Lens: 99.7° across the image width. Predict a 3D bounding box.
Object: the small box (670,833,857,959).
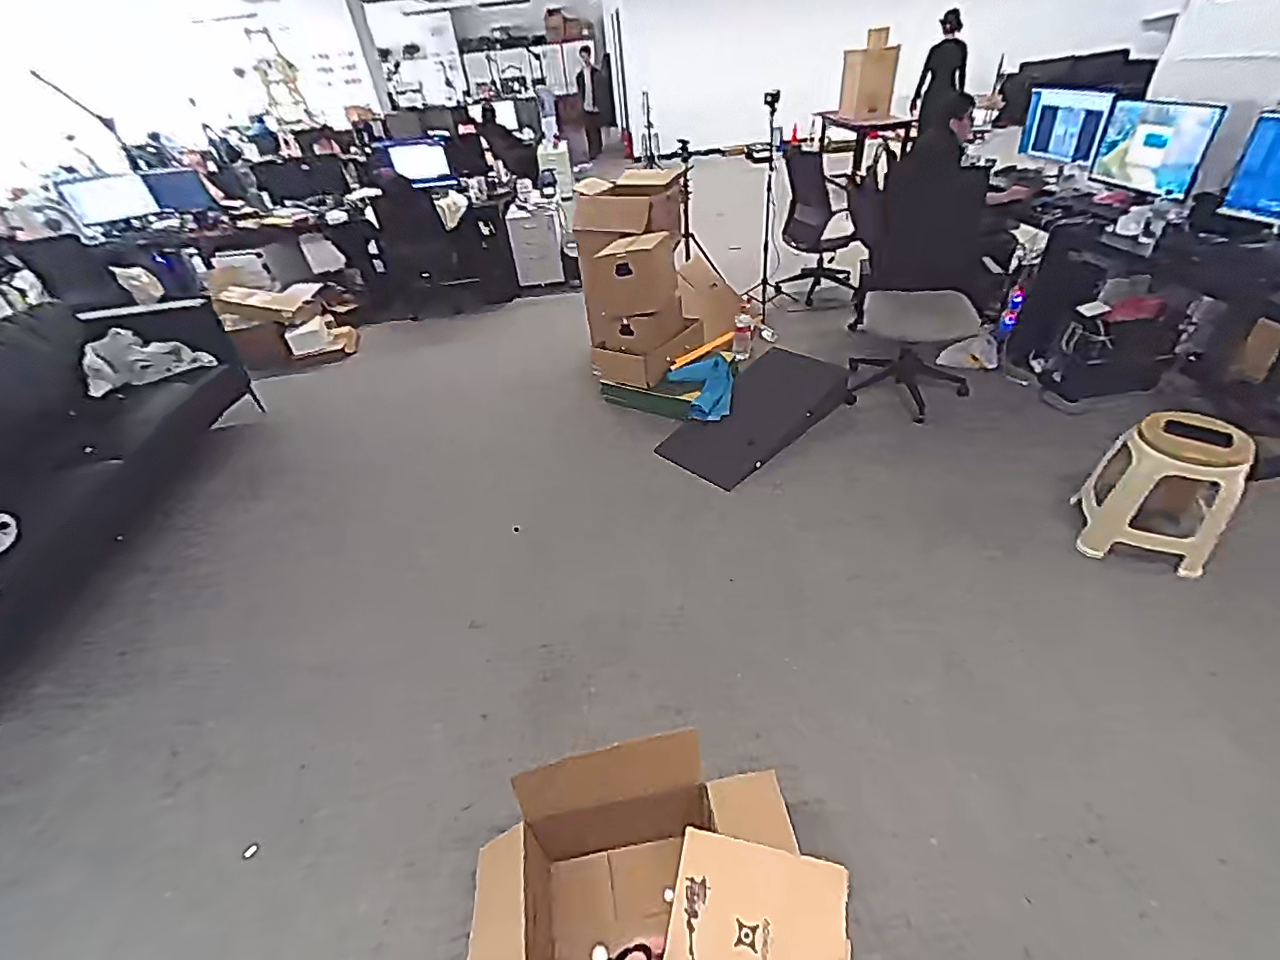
[{"bbox_3d":[0.134,0.522,0.588,0.179,0.176,0.168,4,43,19],"label":"small box"}]
